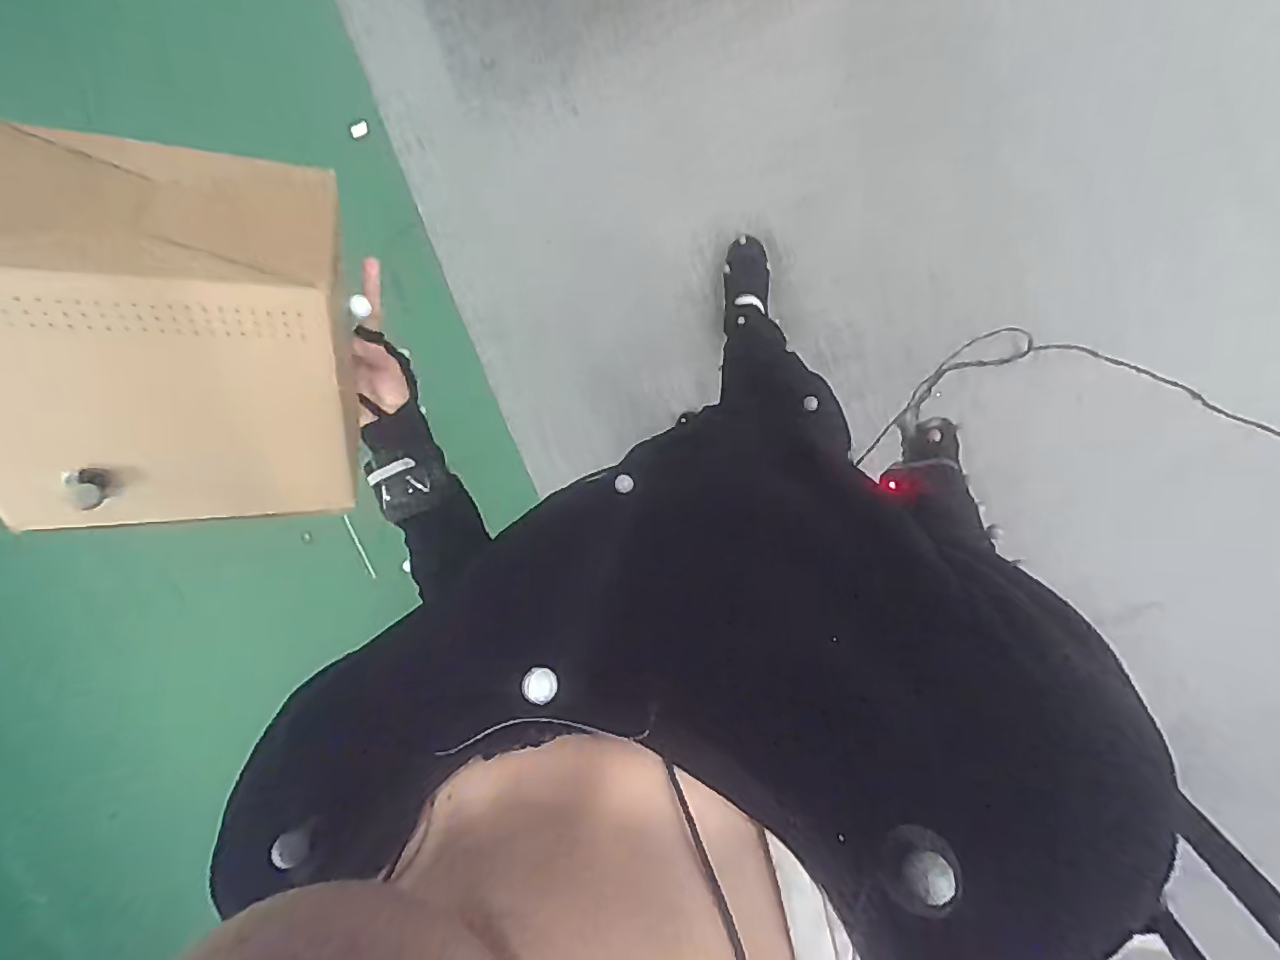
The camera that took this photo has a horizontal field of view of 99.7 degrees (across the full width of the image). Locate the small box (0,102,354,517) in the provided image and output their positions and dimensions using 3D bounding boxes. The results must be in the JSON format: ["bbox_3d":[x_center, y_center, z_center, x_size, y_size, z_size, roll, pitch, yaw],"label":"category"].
[{"bbox_3d":[-0.278,-0.099,0.324,0.179,0.168,0.176,-5,138,-24],"label":"small box"}]
